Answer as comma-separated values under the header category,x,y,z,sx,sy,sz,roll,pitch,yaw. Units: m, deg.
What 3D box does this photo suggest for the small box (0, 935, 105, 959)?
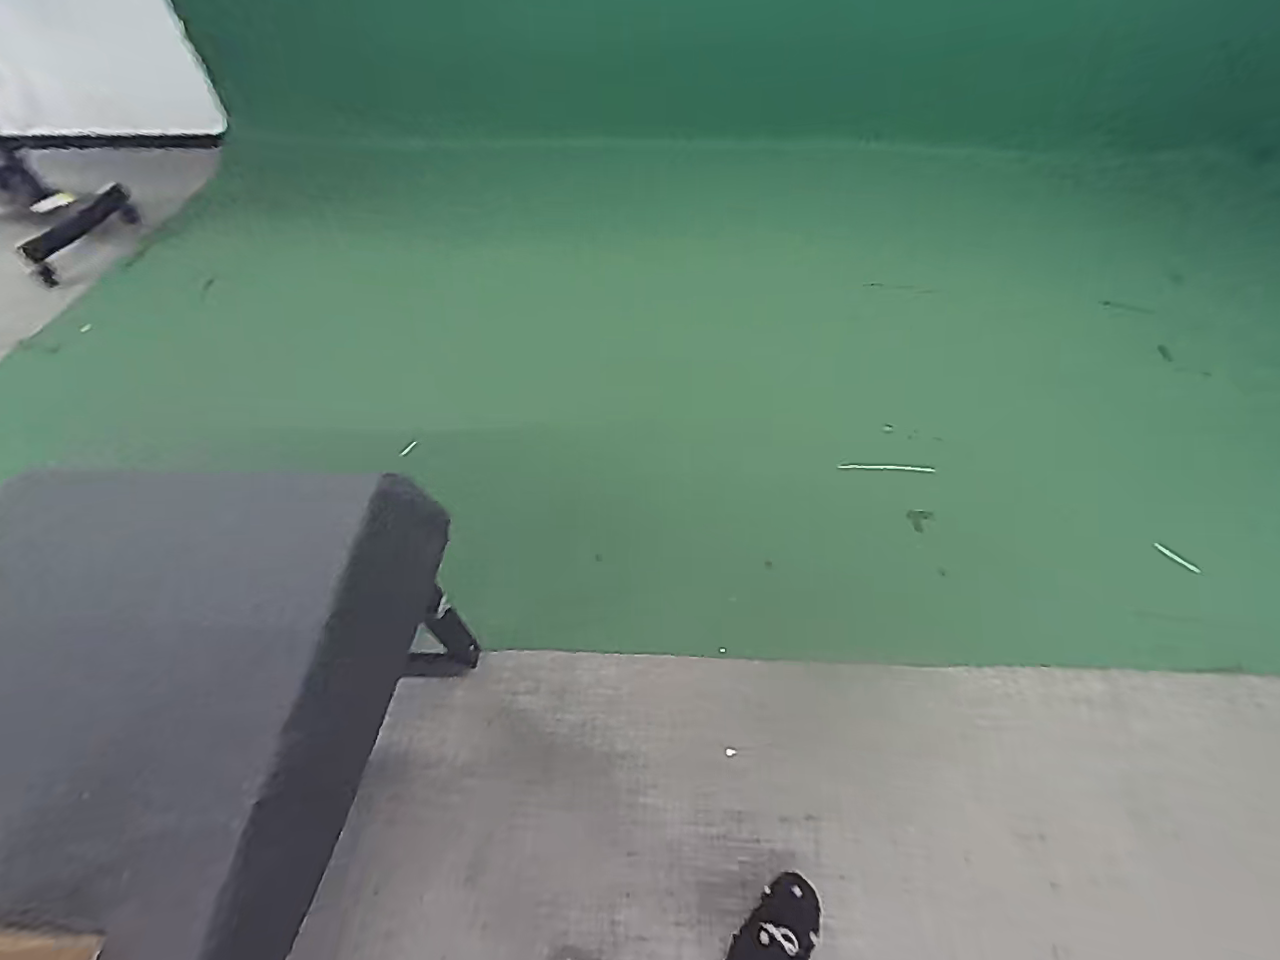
category,x,y,z,sx,sy,sz,roll,pitch,yaw
small box,-0.604,0.470,0.424,0.179,0.176,0.168,1,53,2
